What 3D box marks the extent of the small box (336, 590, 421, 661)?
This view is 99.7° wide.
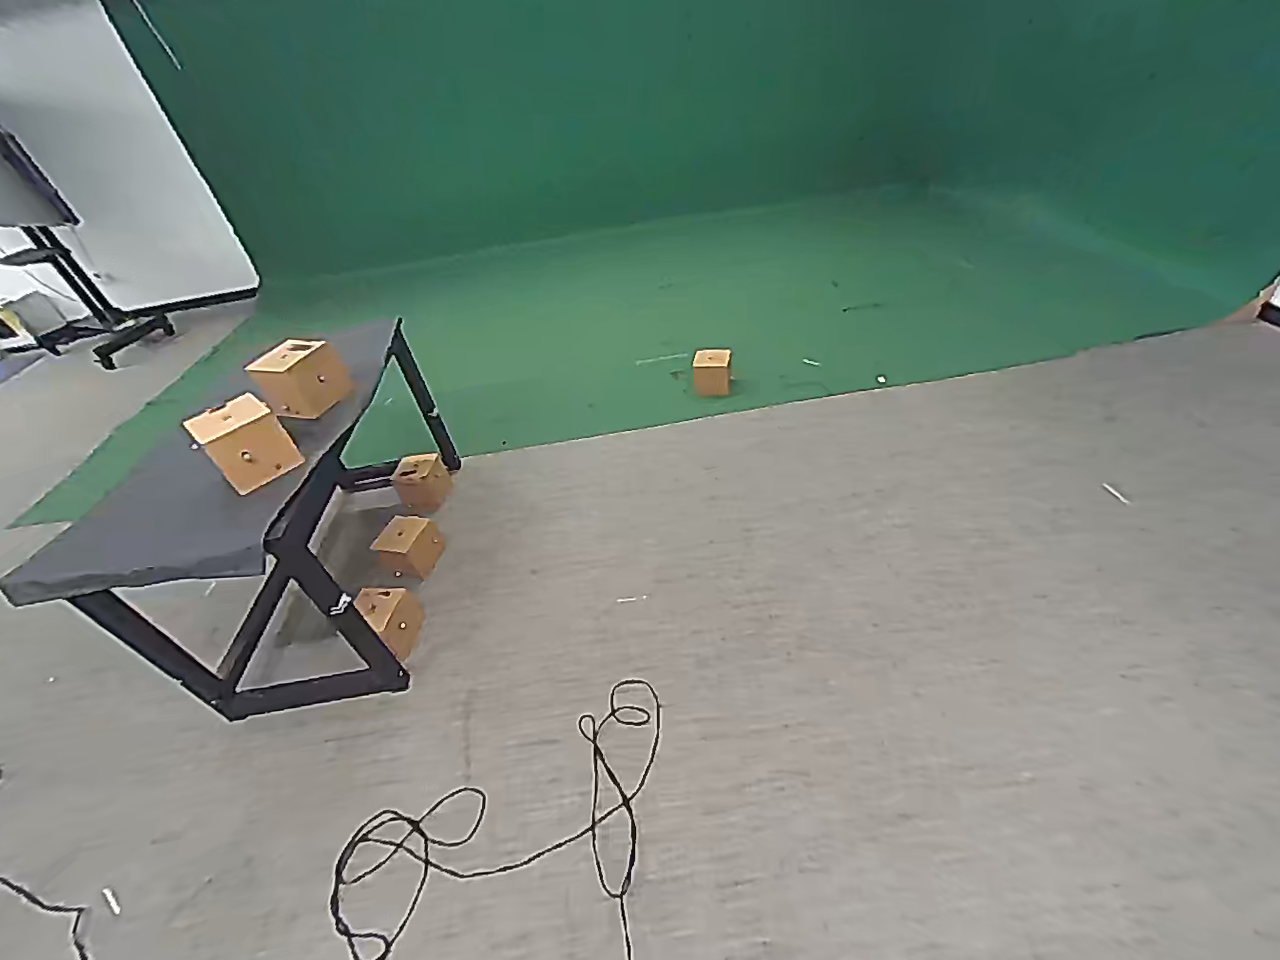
[{"bbox_3d":[-0.865,0.488,1.813,0.168,0.176,0.179,-1,42,9],"label":"small box"}]

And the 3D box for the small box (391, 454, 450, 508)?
[{"bbox_3d":[-0.962,0.011,2.387,0.168,0.176,0.179,-5,39,4],"label":"small box"}]

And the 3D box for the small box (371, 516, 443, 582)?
[{"bbox_3d":[-0.886,0.264,2.078,0.168,0.176,0.179,4,43,16],"label":"small box"}]

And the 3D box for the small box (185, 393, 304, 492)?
[{"bbox_3d":[-1.011,-0.093,1.394,0.179,0.176,0.168,26,52,35],"label":"small box"}]

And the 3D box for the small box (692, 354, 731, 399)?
[{"bbox_3d":[0.367,-0.529,2.759,0.179,0.176,0.168,4,42,15],"label":"small box"}]
